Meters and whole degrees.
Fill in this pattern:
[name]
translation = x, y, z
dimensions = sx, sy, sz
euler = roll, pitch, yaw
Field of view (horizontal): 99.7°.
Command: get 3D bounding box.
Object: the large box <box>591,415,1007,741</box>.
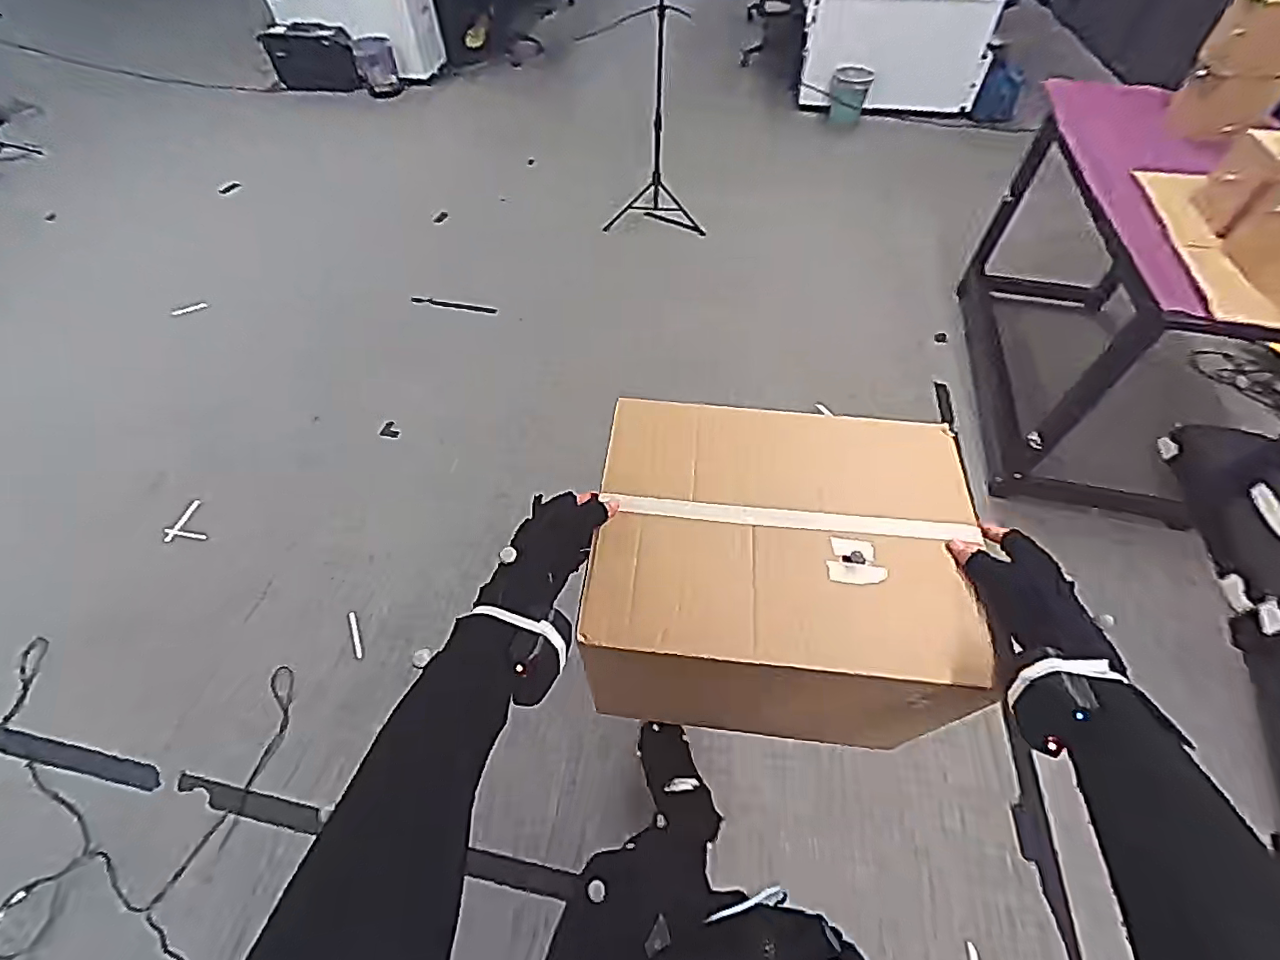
[large box]
translation = 0.160, 0.139, 0.720
dimensions = 0.408, 0.320, 0.320
euler = 5, 56, 3
